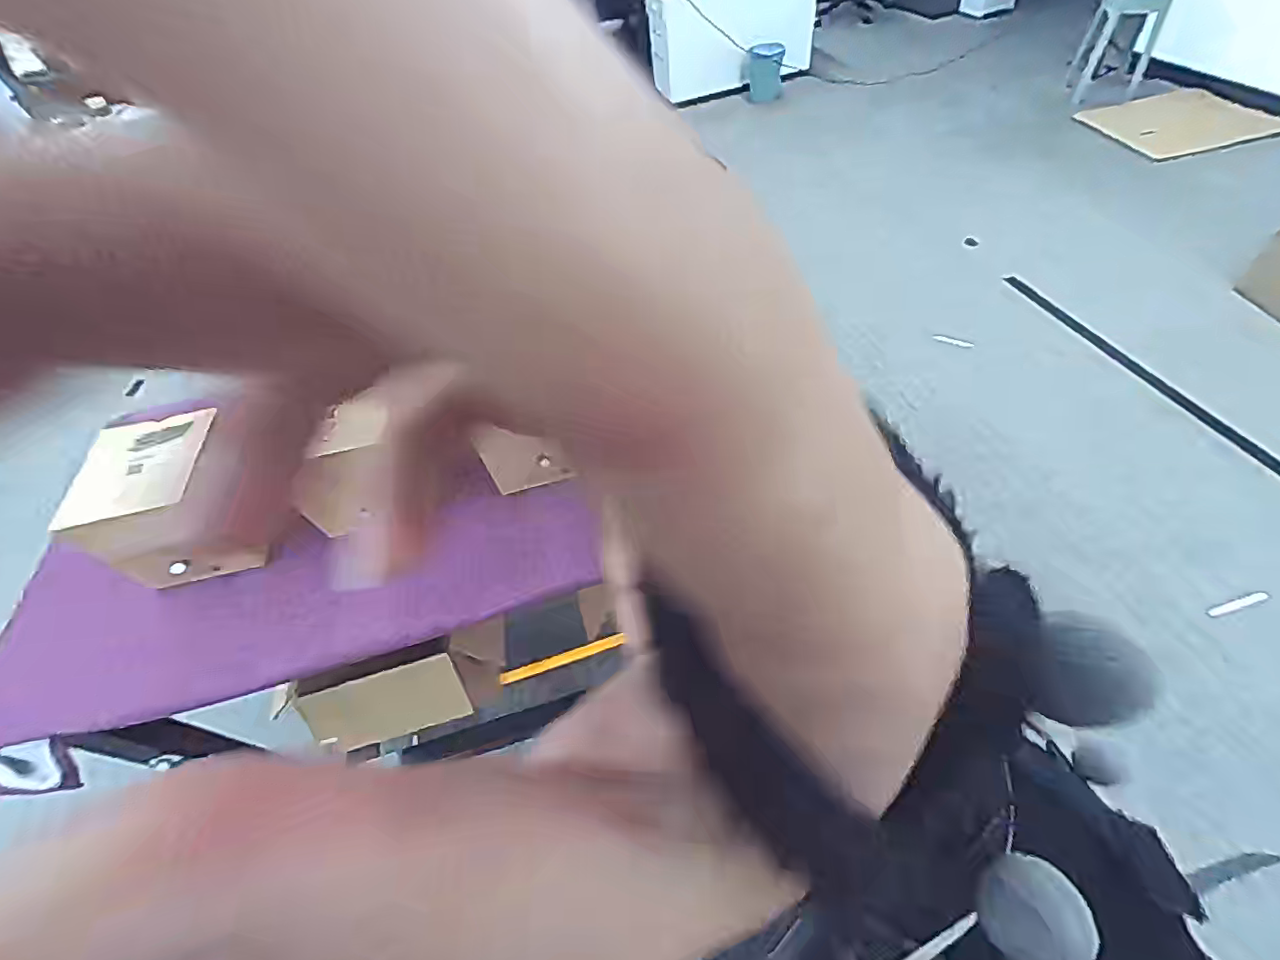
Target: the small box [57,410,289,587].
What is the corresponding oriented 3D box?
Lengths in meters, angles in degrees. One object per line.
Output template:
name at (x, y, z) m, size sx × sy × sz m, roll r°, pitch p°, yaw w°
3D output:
small box at (-0.650, 0.029, 0.785) m, size 0.168 × 0.176 × 0.179 m, roll -12°, pitch 53°, yaw -1°
